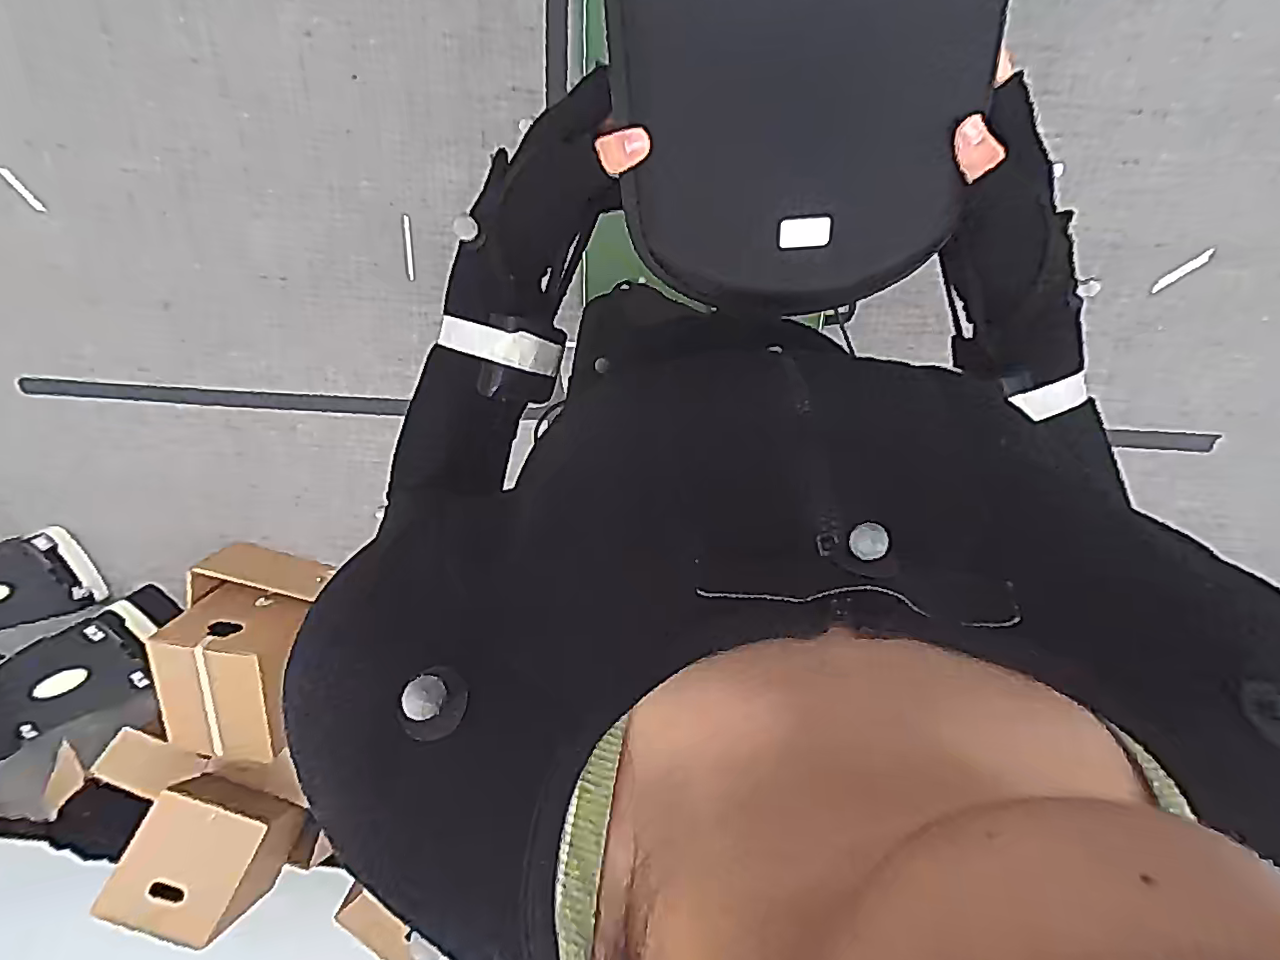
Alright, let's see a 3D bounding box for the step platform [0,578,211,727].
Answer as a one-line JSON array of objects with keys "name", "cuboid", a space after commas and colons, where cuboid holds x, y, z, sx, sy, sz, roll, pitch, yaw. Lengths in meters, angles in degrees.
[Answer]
[{"name": "step platform", "cuboid": [-1.856, 0.595, 1.849, 0.684, 0.204, 0.286, -24, 108, 12]}]
